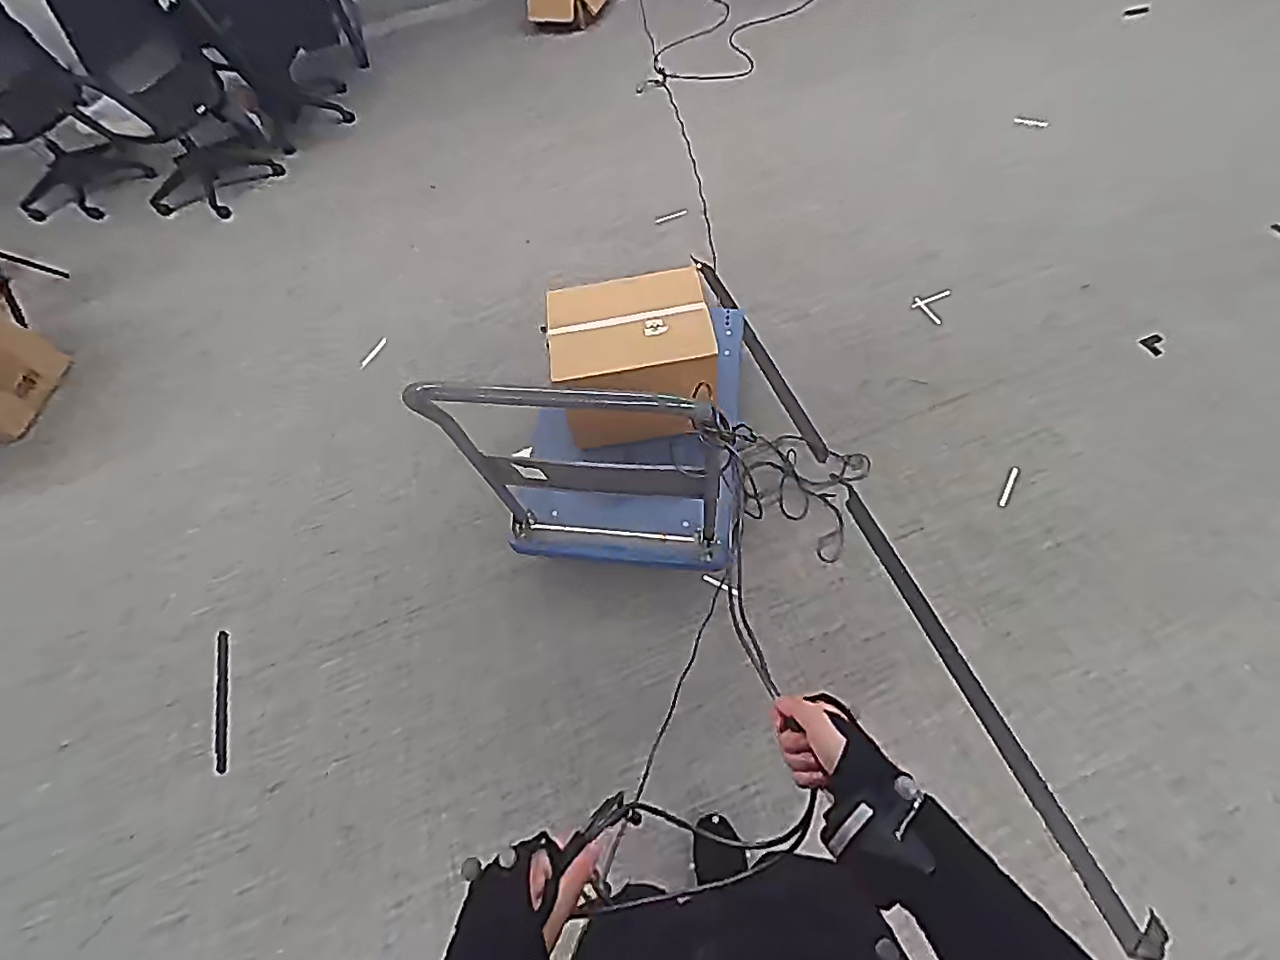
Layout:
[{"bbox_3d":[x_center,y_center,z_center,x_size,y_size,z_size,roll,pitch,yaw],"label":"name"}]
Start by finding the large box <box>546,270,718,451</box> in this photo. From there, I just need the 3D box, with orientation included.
[{"bbox_3d":[-0.019,-0.313,1.466,0.408,0.320,0.320,-9,61,1],"label":"large box"}]
